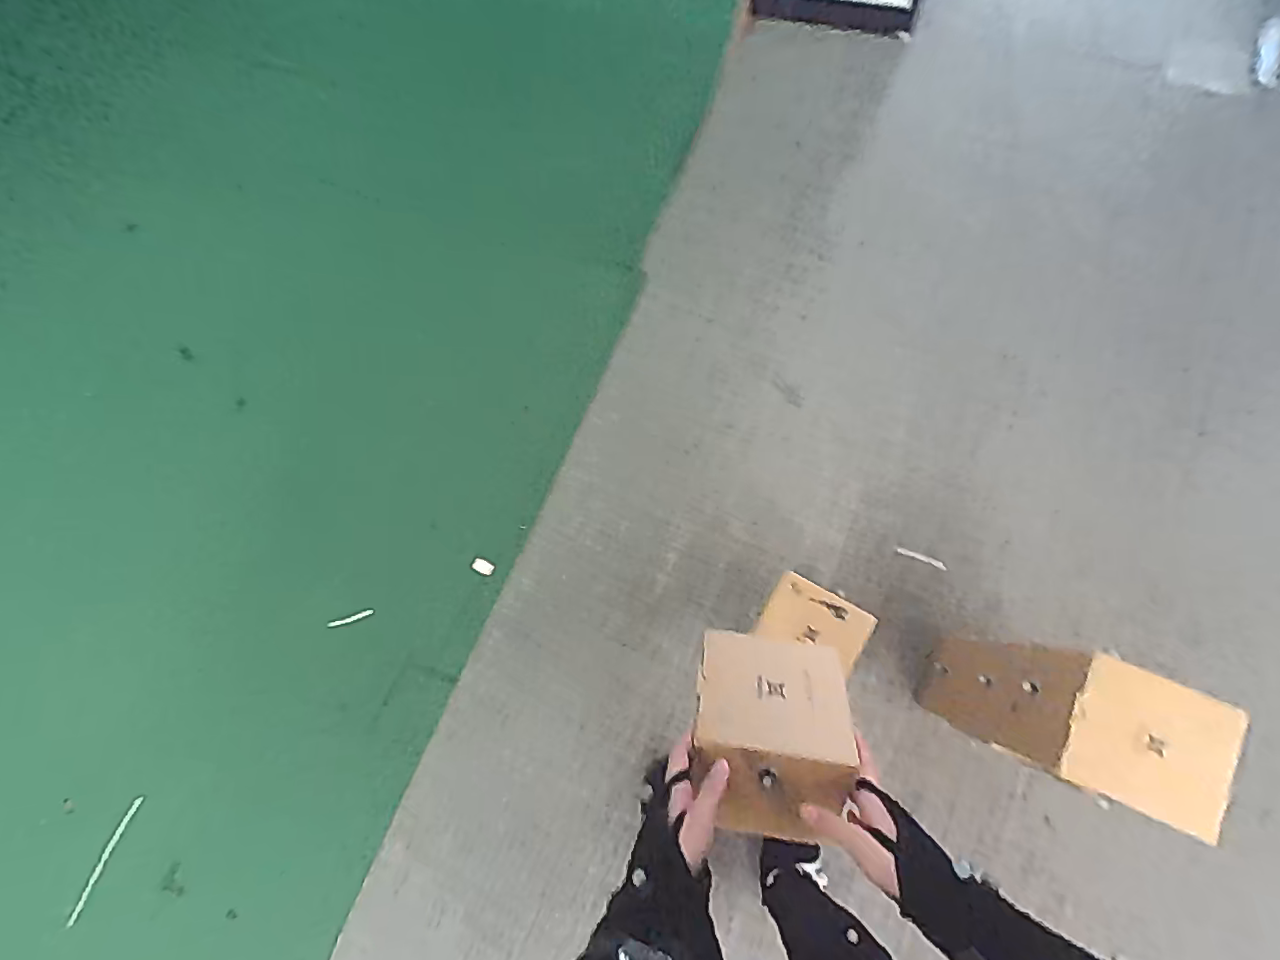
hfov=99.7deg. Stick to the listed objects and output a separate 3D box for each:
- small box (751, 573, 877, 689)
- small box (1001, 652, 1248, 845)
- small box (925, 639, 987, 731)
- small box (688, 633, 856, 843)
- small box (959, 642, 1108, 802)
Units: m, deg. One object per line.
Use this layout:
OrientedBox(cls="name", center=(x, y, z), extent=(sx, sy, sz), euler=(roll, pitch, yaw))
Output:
OrientedBox(cls="small box", center=(0.303, 0.293, 0.994), extent=(0.168, 0.176, 0.179), euler=(29, 82, 16))
OrientedBox(cls="small box", center=(0.650, 0.349, 0.749), extent=(0.179, 0.176, 0.168), euler=(22, 80, 15))
OrientedBox(cls="small box", center=(0.694, 0.426, 1.063), extent=(0.179, 0.176, 0.168), euler=(22, 80, 14))
OrientedBox(cls="small box", center=(0.154, 0.320, 0.679), extent=(0.179, 0.168, 0.176), euler=(5, 121, 8))
OrientedBox(cls="small box", center=(0.668, 0.389, 0.906), extent=(0.168, 0.176, 0.179), euler=(23, 80, 15))
